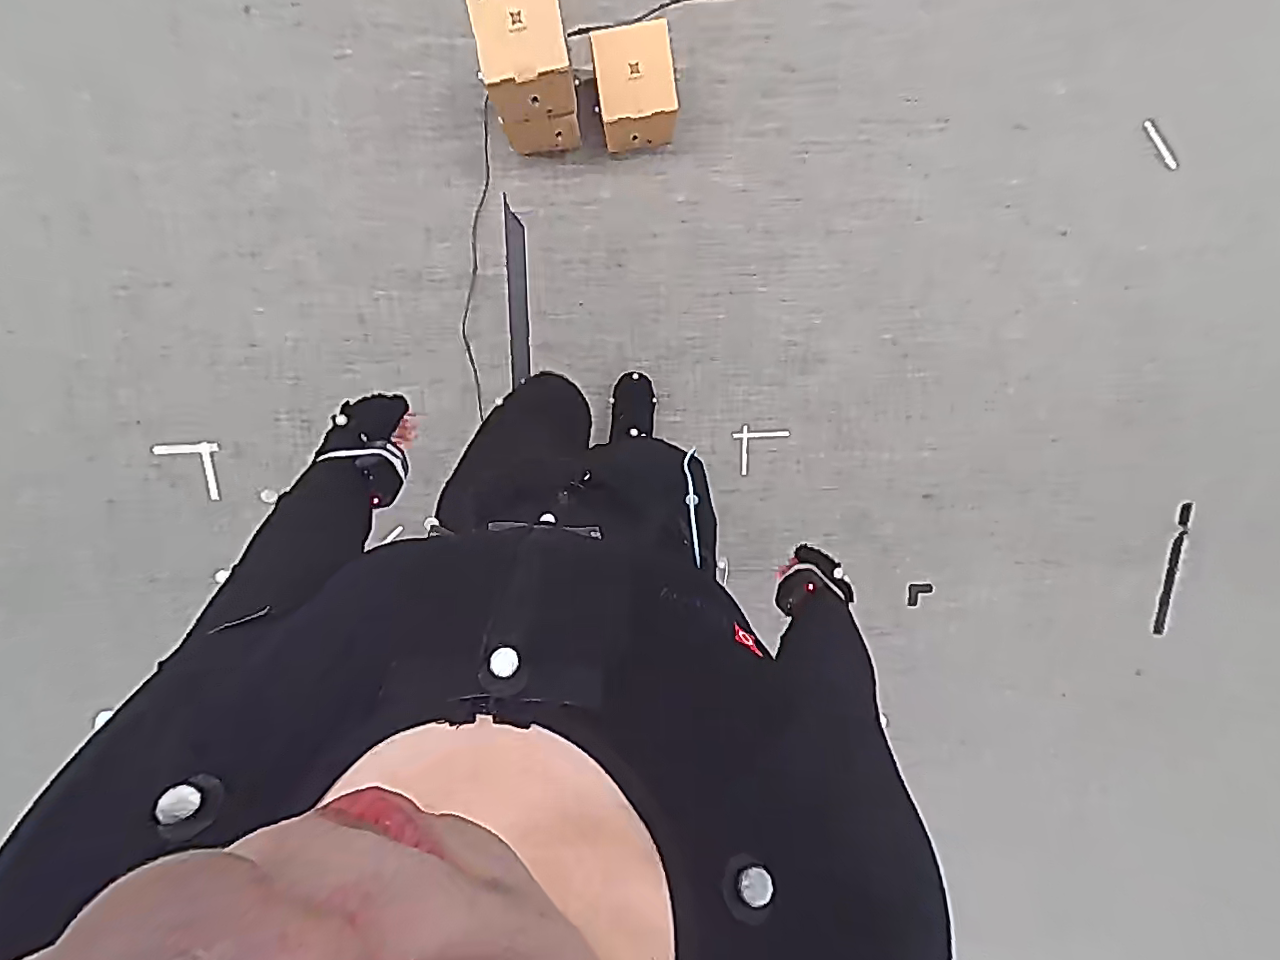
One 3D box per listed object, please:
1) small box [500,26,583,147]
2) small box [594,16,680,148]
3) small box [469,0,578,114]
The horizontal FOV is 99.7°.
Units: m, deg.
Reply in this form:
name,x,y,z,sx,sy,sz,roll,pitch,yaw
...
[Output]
name,x,y,z,sx,sy,sz,roll,pitch,yaw
small box,-0.224,-0.879,1.222,0.168,0.176,0.179,-5,101,0
small box,-0.007,-0.888,1.222,0.168,0.176,0.179,-9,102,1
small box,-0.222,-0.851,1.060,0.168,0.176,0.179,-9,103,1
